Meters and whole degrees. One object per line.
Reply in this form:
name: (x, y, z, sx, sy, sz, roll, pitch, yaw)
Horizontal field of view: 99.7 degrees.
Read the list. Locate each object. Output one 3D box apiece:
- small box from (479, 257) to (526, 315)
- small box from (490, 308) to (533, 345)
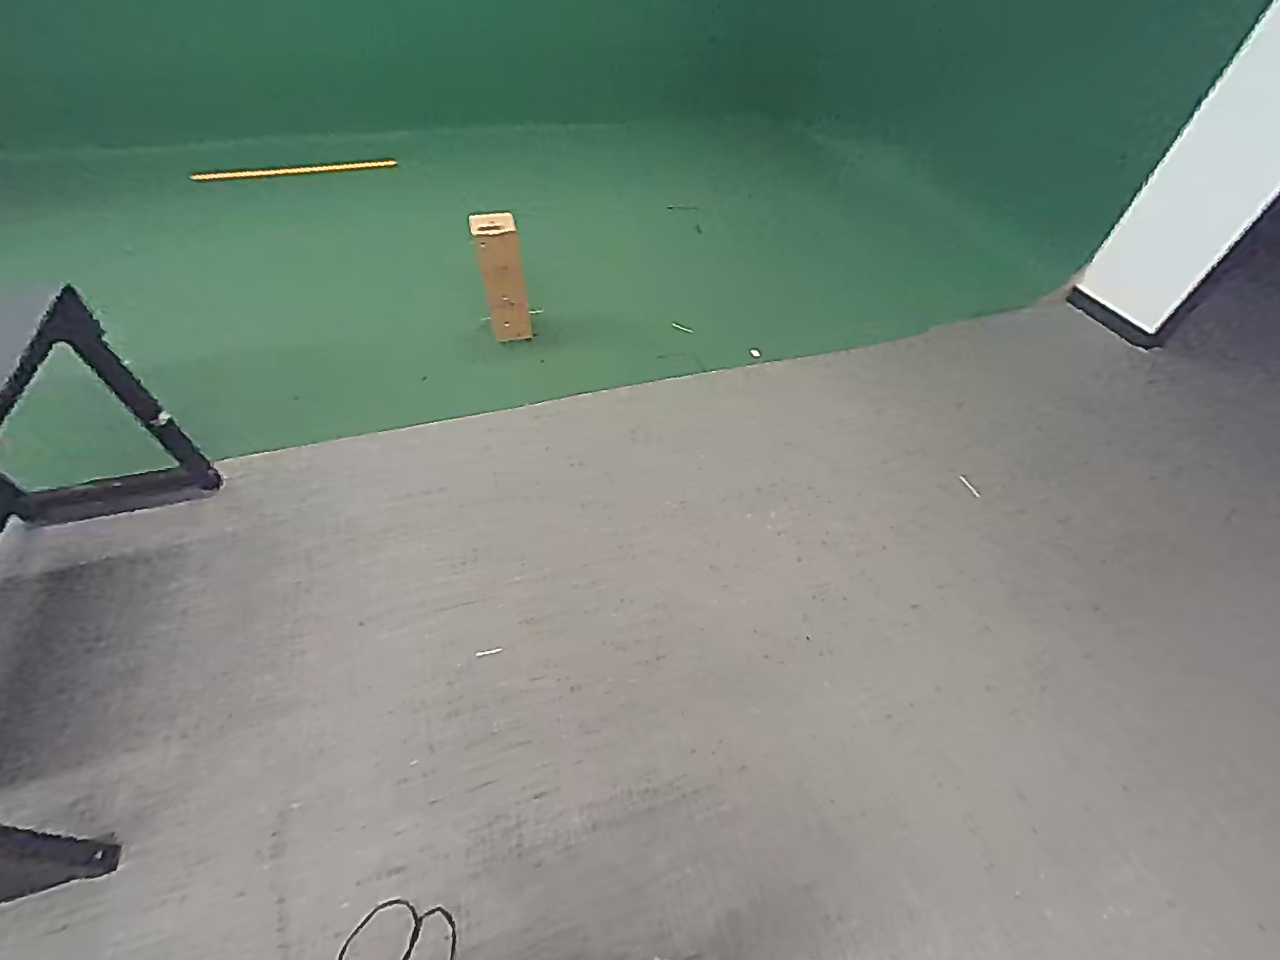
small box: (-0.596, -0.840, 2.347, 0.168, 0.176, 0.179, -12, 50, -10)
small box: (-0.595, -0.733, 2.473, 0.168, 0.176, 0.179, -13, 50, -12)
